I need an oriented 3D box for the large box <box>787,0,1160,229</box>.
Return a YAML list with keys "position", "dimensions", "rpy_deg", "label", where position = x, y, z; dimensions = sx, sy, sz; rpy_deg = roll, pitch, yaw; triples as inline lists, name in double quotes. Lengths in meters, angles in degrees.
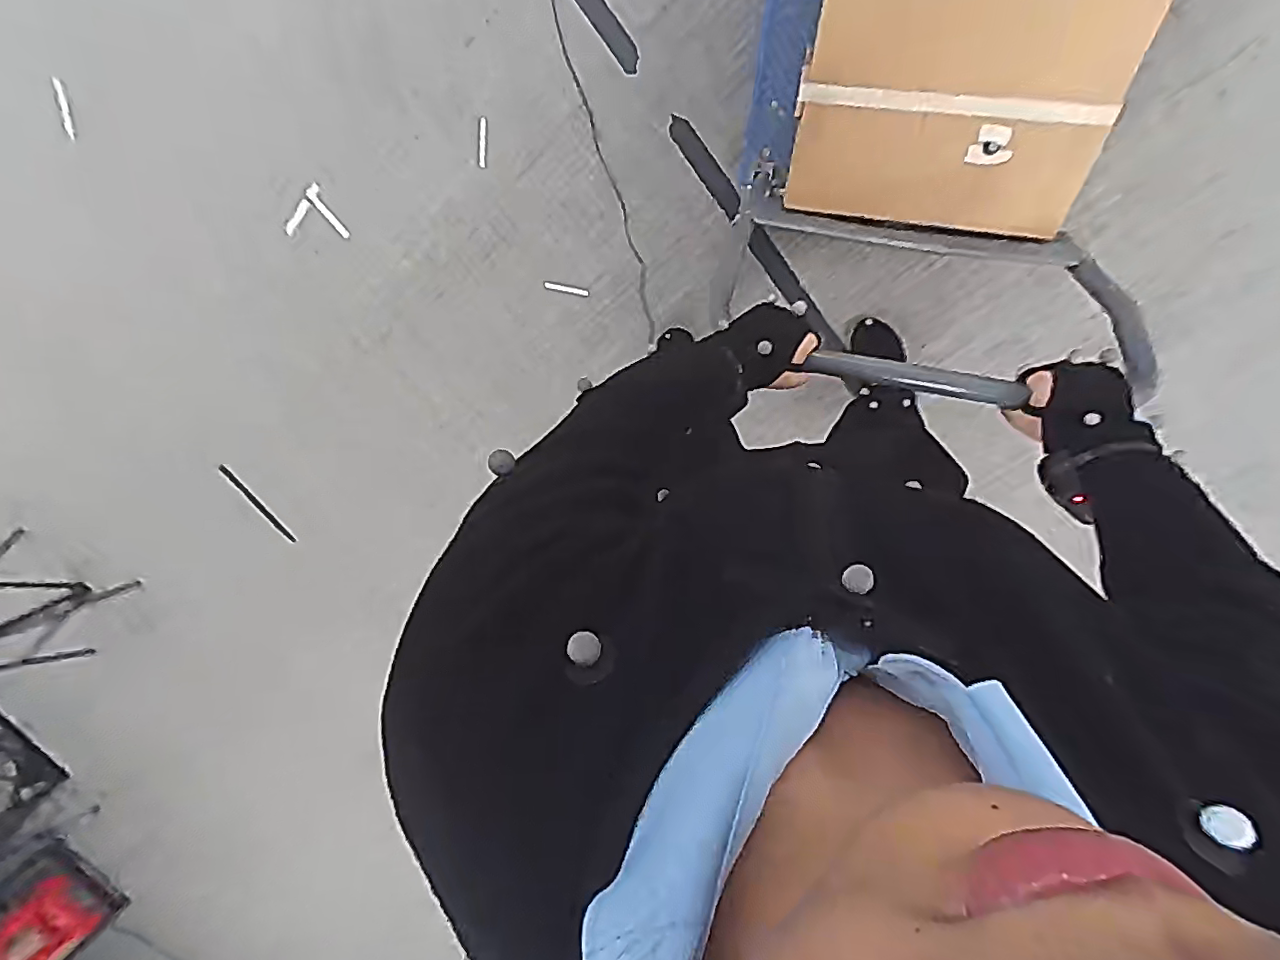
- position: [0.471, -0.623, 0.873]
  dimensions: [0.408, 0.320, 0.320]
  rpy_deg: [11, 130, 9]
  label: "large box"
